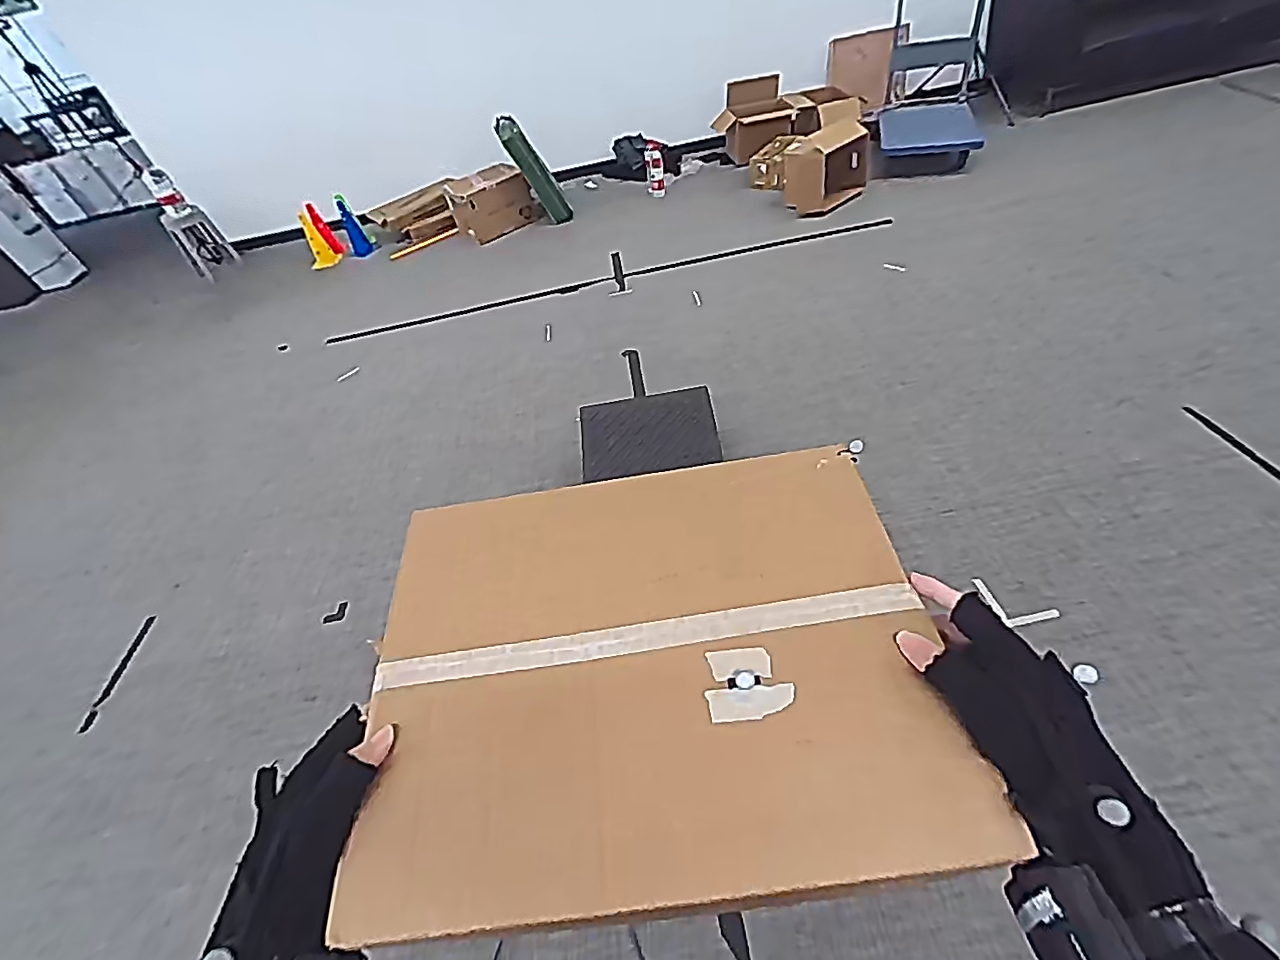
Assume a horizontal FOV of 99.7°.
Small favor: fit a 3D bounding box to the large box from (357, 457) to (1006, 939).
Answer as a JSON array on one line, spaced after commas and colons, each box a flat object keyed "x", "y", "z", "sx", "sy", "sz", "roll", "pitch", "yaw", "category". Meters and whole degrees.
[{"x": 0.023, "y": 0.219, "z": 0.529, "sx": 0.408, "sy": 0.320, "sz": 0.320, "roll": -9, "pitch": 51, "yaw": 2, "category": "large box"}]
